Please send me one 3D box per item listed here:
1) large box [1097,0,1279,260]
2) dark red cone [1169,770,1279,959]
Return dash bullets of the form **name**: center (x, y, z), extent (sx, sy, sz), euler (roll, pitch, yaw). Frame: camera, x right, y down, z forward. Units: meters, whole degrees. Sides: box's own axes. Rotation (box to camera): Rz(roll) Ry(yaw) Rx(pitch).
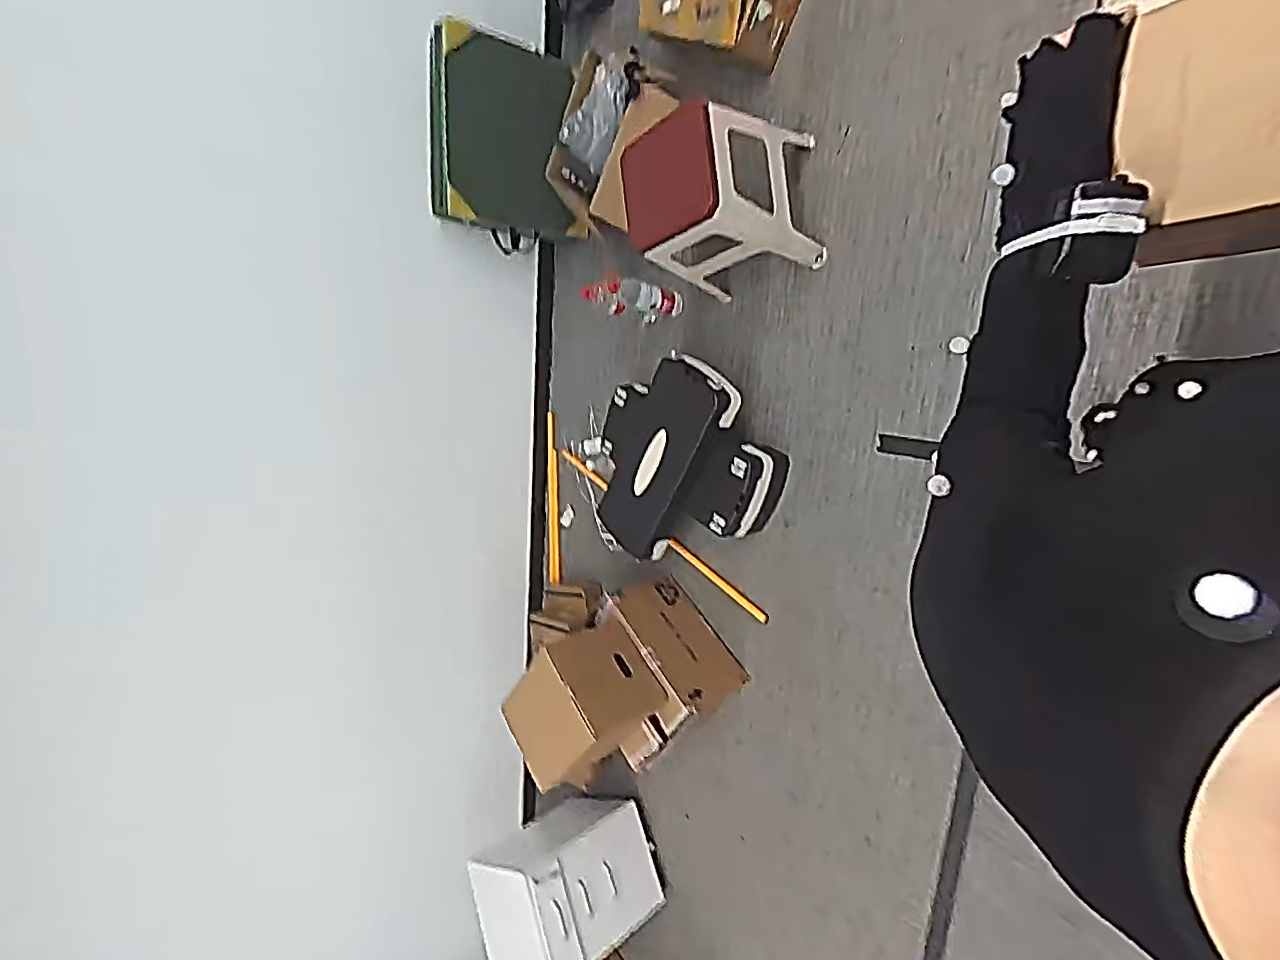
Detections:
- **large box**: center (0.592, -0.359, 0.356), extent (0.408, 0.320, 0.320), euler (9, 107, 46)
- **dark red cone**: center (1.037, 0.688, 0.904), extent (0.202, 0.394, 0.201), euler (22, 109, 42)
